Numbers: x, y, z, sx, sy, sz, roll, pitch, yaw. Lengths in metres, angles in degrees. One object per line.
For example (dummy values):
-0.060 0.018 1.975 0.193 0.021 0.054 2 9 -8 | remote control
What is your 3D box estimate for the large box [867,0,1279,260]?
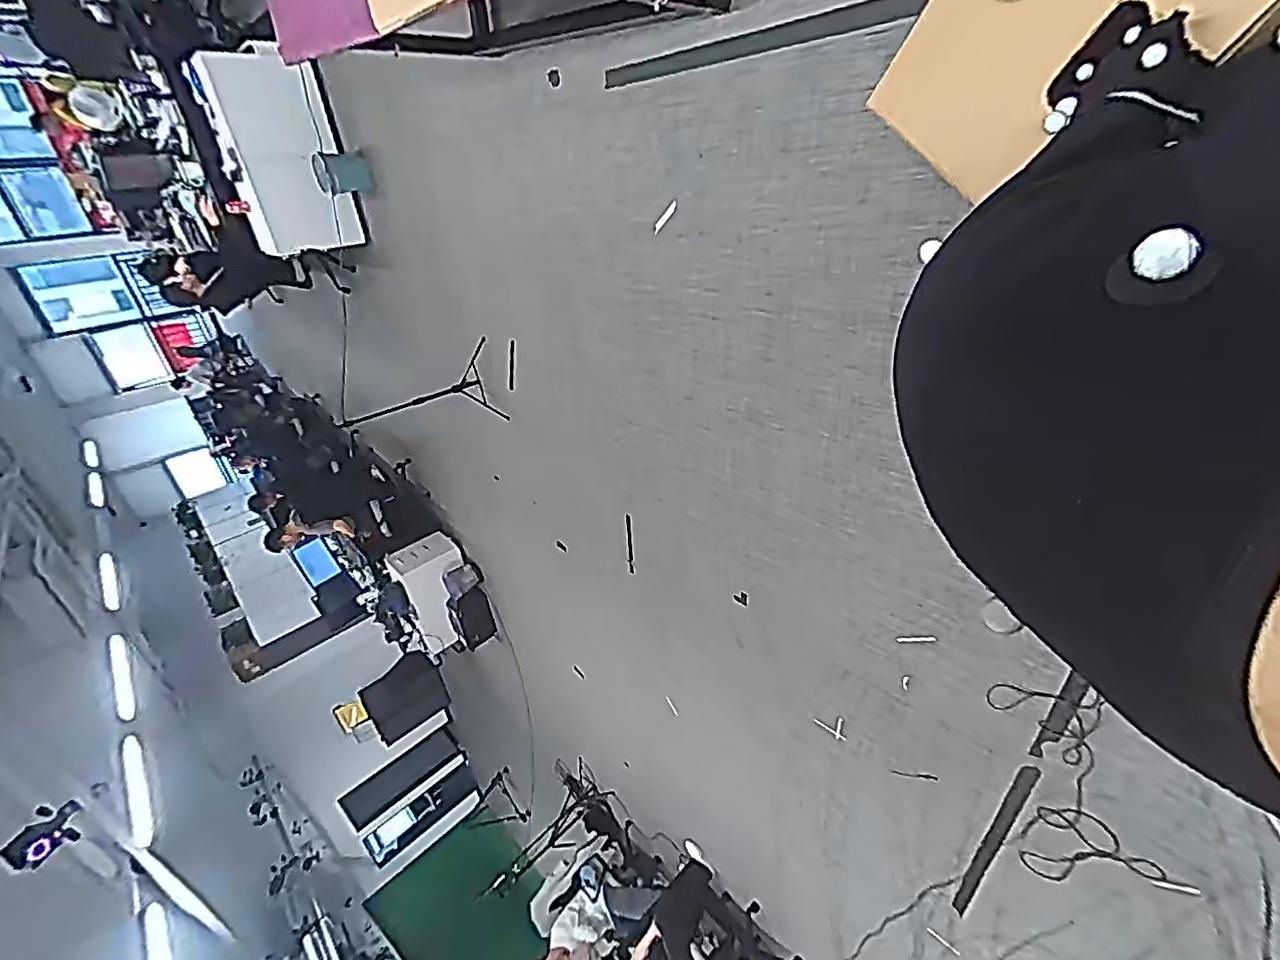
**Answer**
0.594 -0.513 0.696 0.320 0.408 0.320 61 145 22 | large box
